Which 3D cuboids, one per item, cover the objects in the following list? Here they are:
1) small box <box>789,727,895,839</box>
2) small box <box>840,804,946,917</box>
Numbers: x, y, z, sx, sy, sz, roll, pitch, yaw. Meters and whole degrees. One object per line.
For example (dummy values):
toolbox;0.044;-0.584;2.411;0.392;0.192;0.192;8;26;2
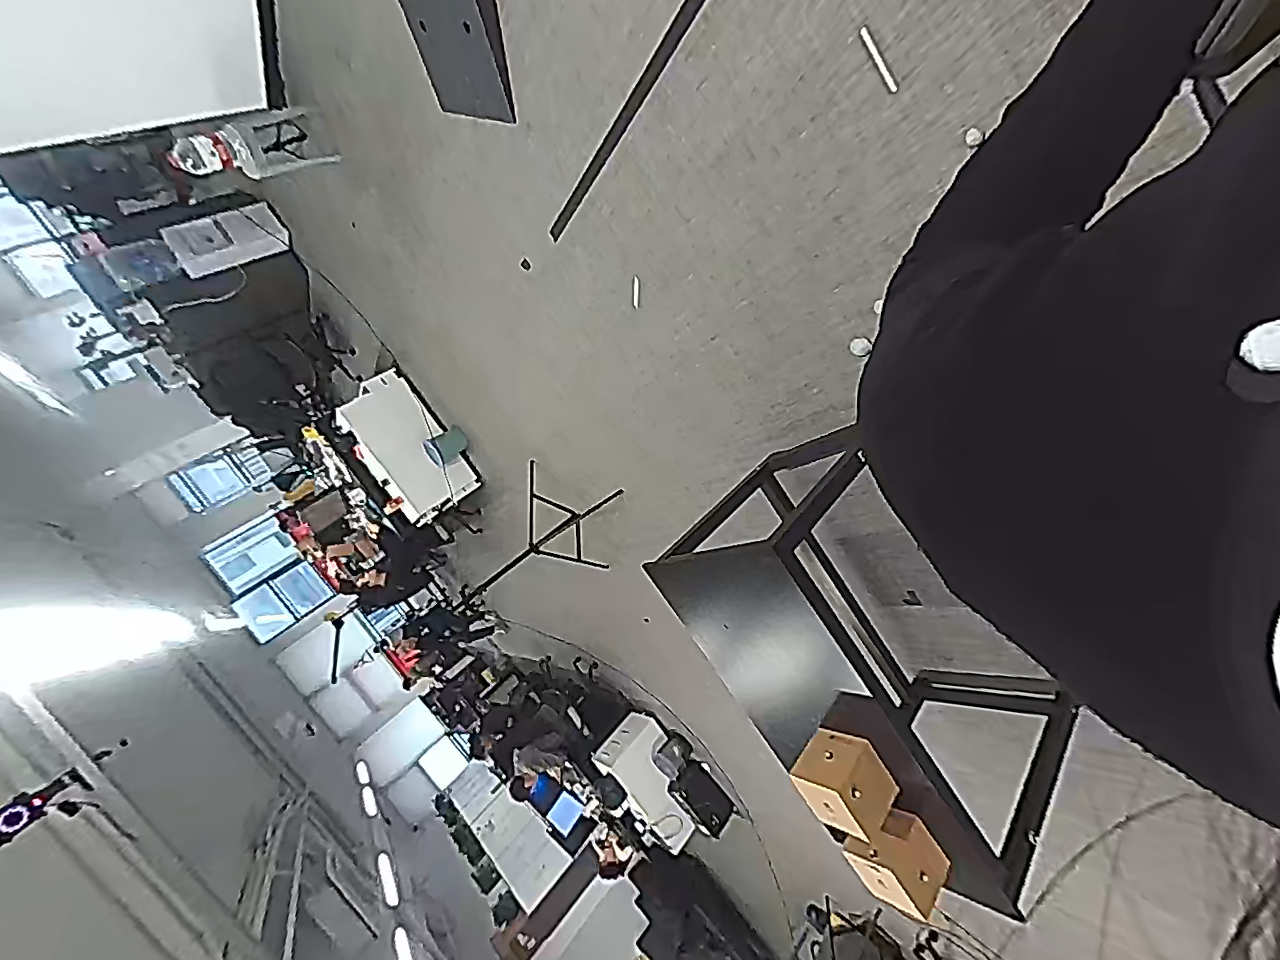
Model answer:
small box;0.539;0.795;1.440;0.179;0.176;0.168;56;149;-8
small box;0.693;1.018;1.475;0.179;0.176;0.168;54;149;-6
